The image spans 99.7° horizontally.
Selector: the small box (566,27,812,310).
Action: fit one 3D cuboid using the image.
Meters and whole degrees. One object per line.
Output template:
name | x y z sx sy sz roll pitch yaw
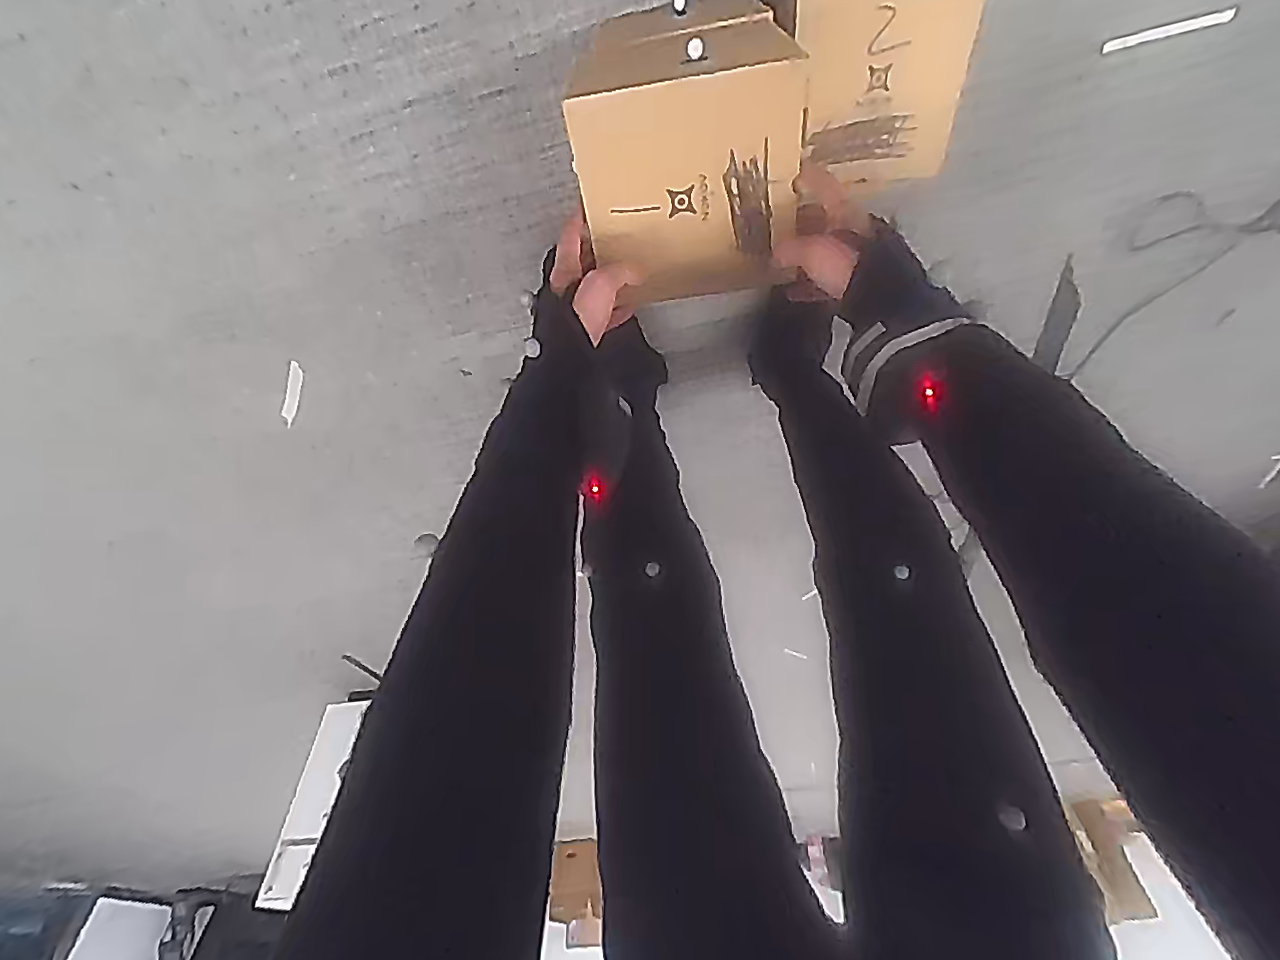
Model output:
small box | 0.041 -0.279 0.485 0.179 0.176 0.168 -6 136 6
